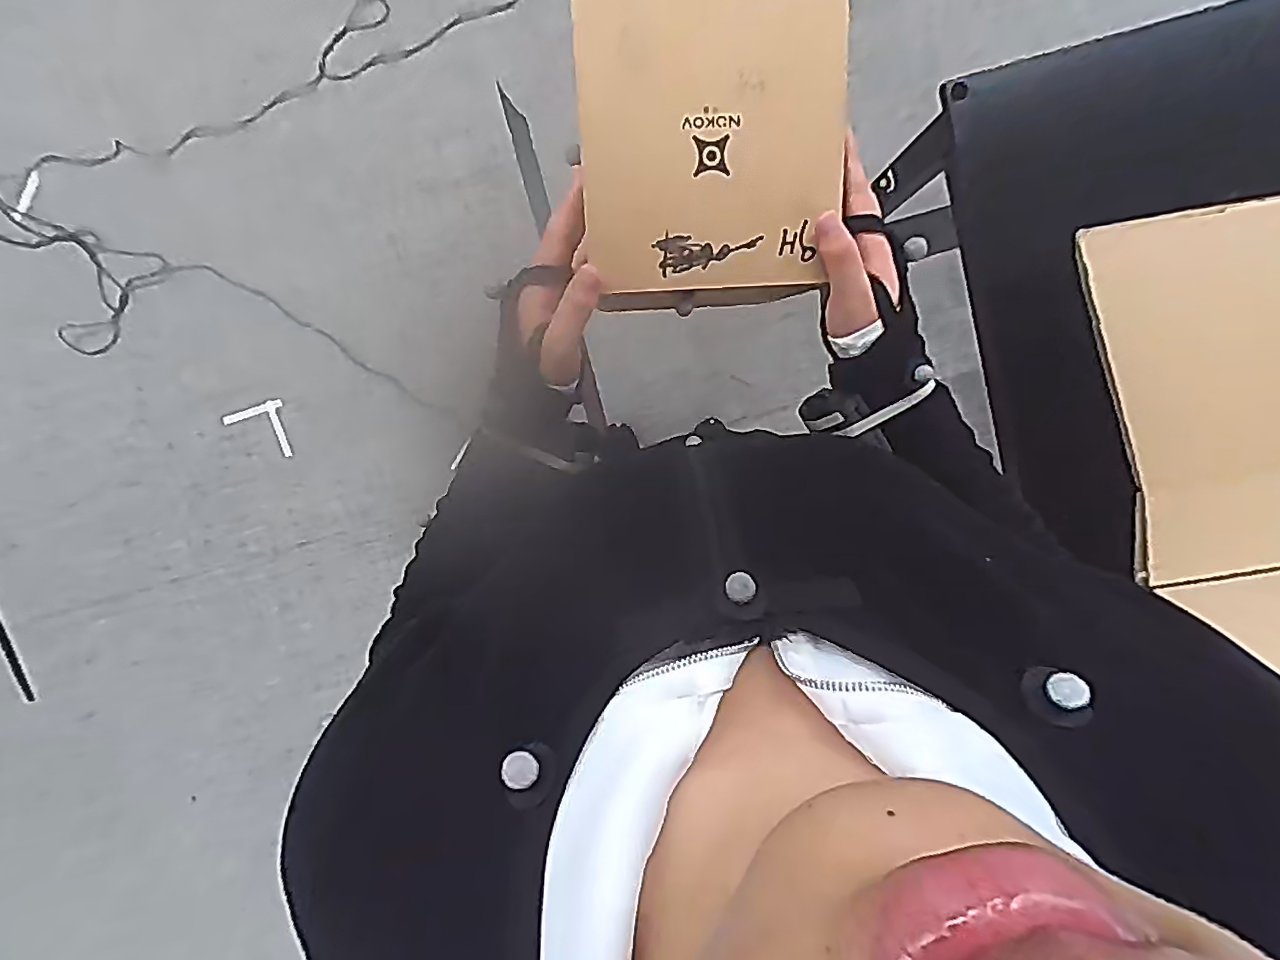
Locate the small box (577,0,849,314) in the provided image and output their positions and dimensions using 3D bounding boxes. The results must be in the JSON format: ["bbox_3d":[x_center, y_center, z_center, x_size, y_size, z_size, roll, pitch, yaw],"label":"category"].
[{"bbox_3d":[0.042,-0.227,0.410,0.168,0.176,0.179,-4,103,-2],"label":"small box"}]
